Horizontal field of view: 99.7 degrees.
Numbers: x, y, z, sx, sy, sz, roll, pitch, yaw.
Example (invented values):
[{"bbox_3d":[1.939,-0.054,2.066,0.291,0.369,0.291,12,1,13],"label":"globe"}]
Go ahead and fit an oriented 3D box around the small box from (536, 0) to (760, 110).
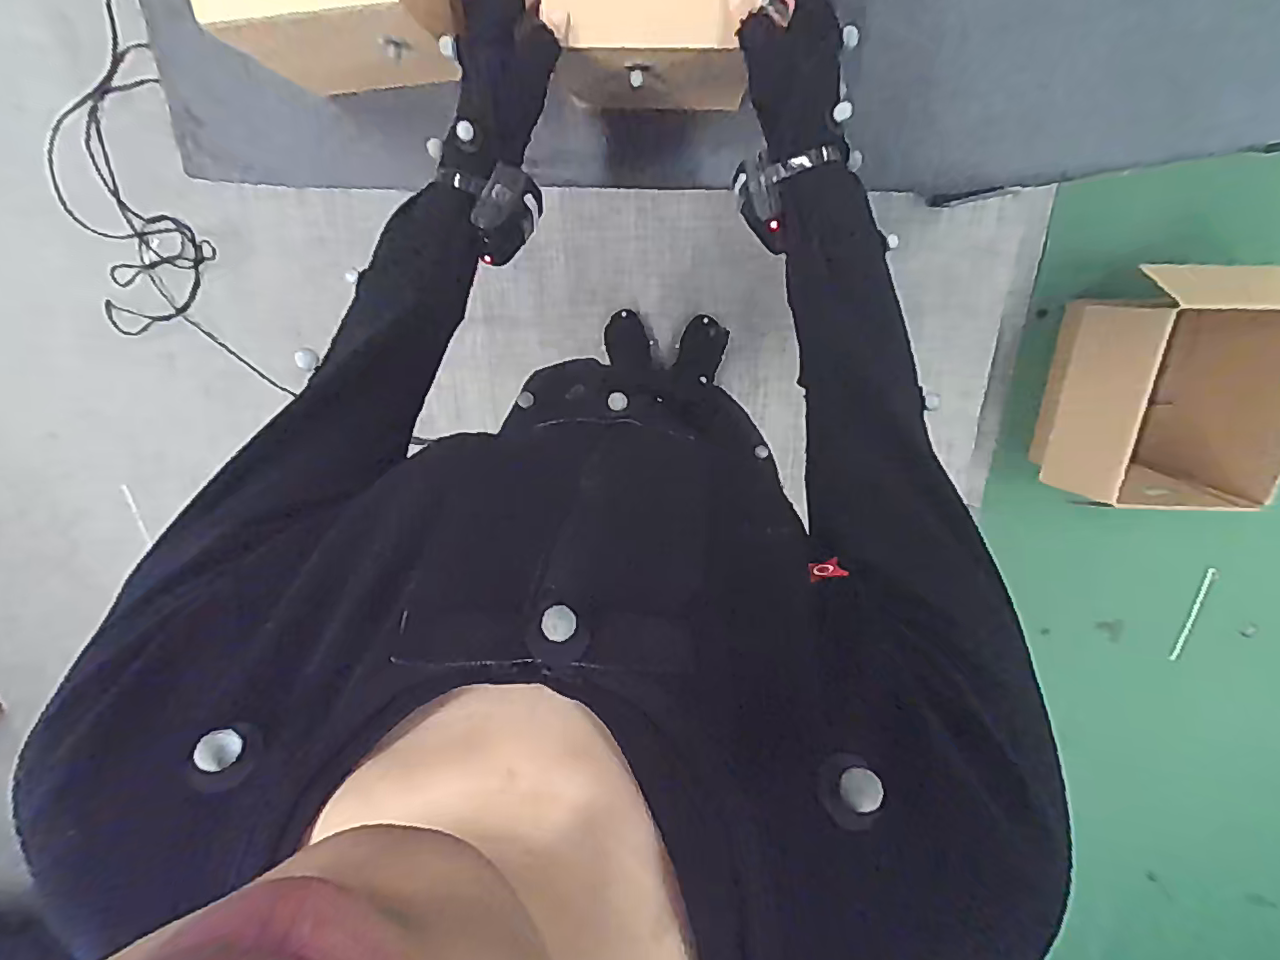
[{"bbox_3d":[0.013,-0.443,0.475,0.179,0.176,0.168,2,111,3],"label":"small box"}]
